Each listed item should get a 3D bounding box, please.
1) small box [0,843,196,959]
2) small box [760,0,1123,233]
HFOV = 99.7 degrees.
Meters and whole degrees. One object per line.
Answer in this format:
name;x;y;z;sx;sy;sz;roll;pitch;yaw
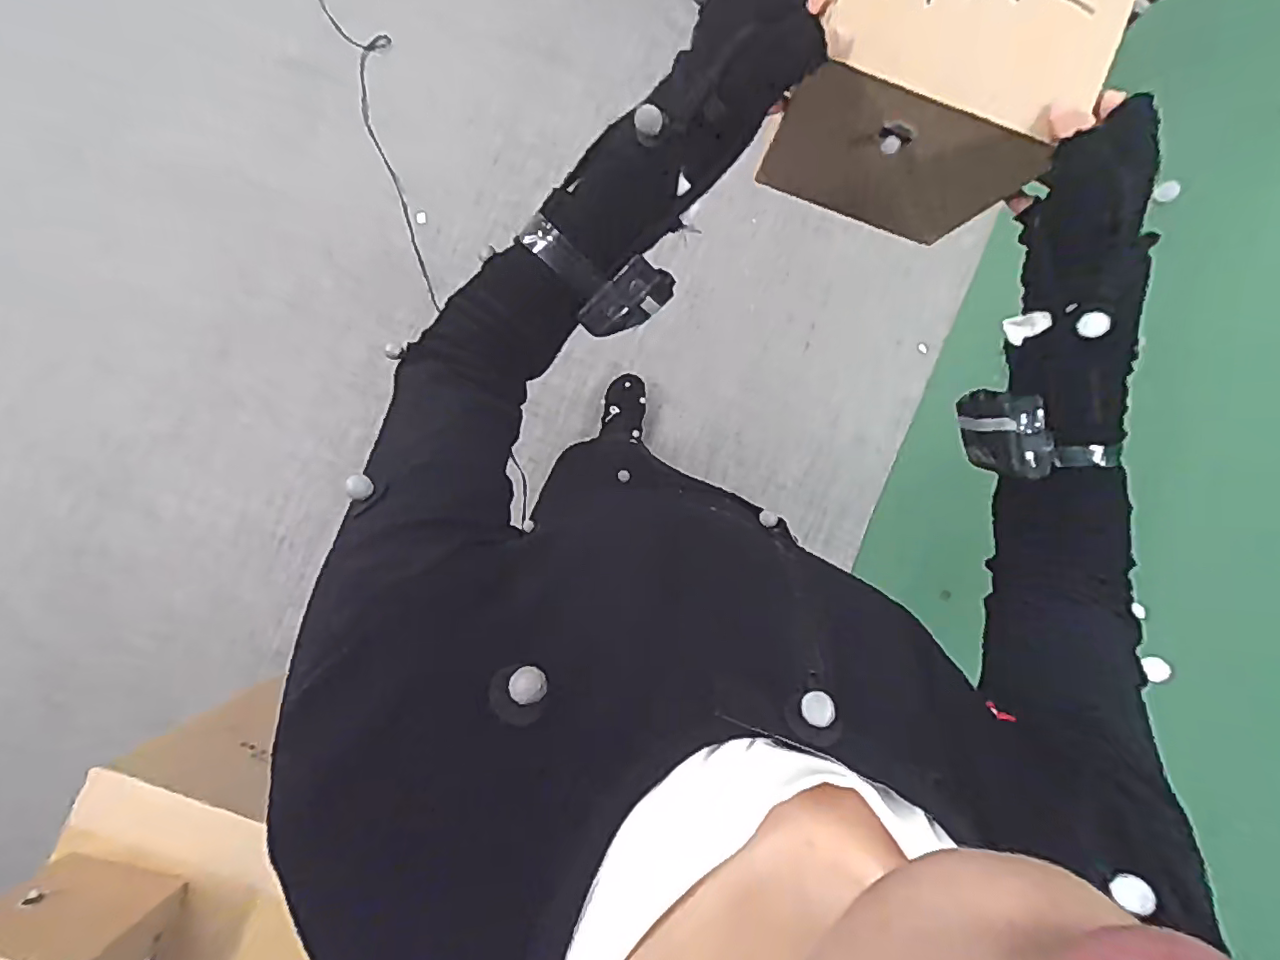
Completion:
small box;-0.744;0.612;0.701;0.179;0.176;0.168;14;84;-2
small box;0.209;-0.316;0.409;0.179;0.176;0.168;19;94;-2
